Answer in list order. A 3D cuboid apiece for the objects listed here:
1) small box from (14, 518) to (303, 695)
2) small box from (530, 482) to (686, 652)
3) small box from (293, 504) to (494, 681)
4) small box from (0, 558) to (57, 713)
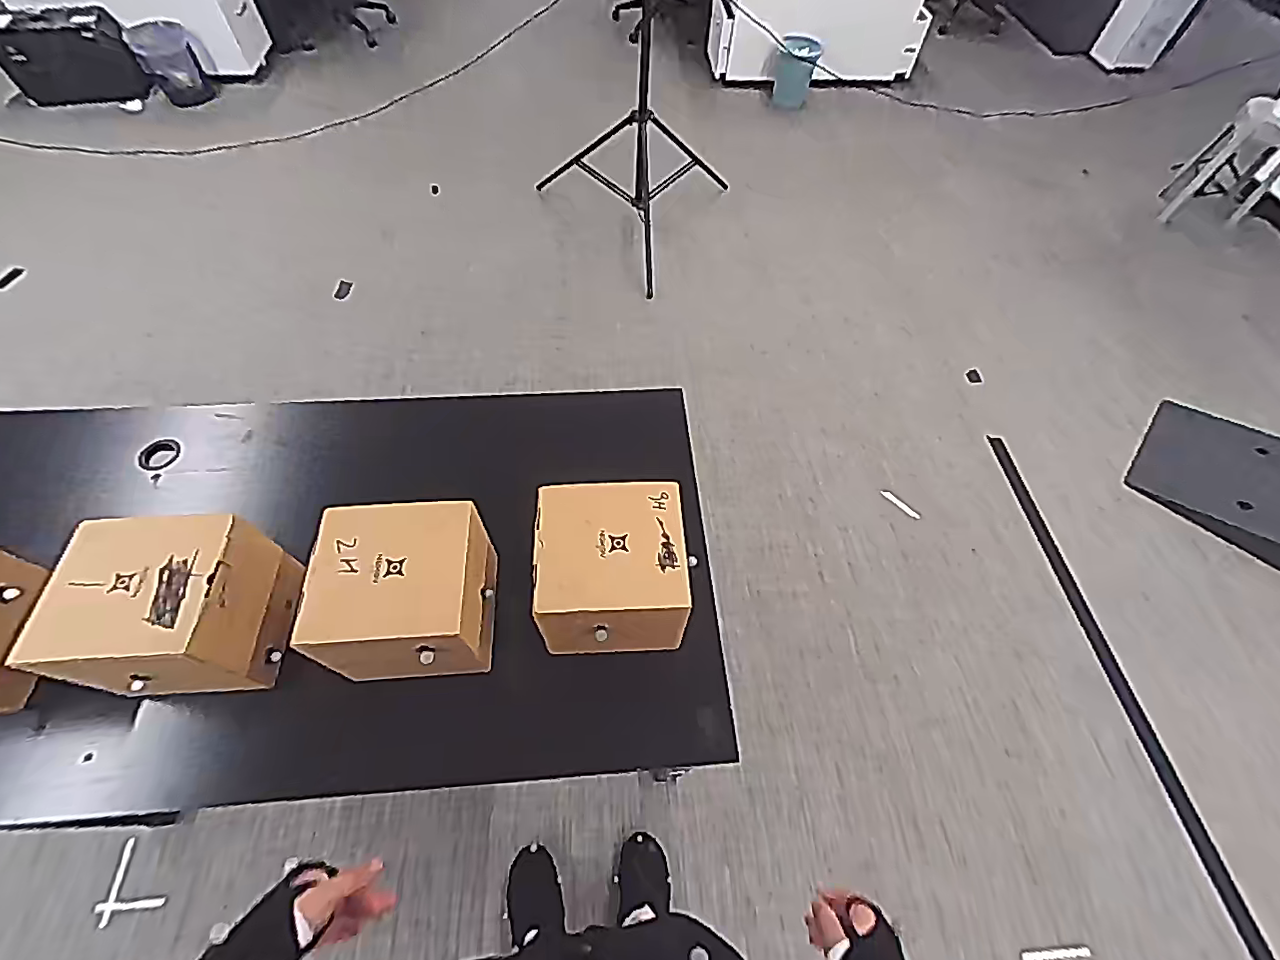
[{"bbox_3d":[-0.553,0.158,0.659,0.179,0.176,0.168,-3,58,-3],"label":"small box"},{"bbox_3d":[-0.038,0.119,0.703,0.179,0.176,0.168,-3,58,-2],"label":"small box"},{"bbox_3d":[-0.285,0.144,0.677,0.179,0.176,0.168,-3,57,-5],"label":"small box"},{"bbox_3d":[-0.847,0.183,0.635,0.179,0.176,0.168,-5,57,-5],"label":"small box"}]
